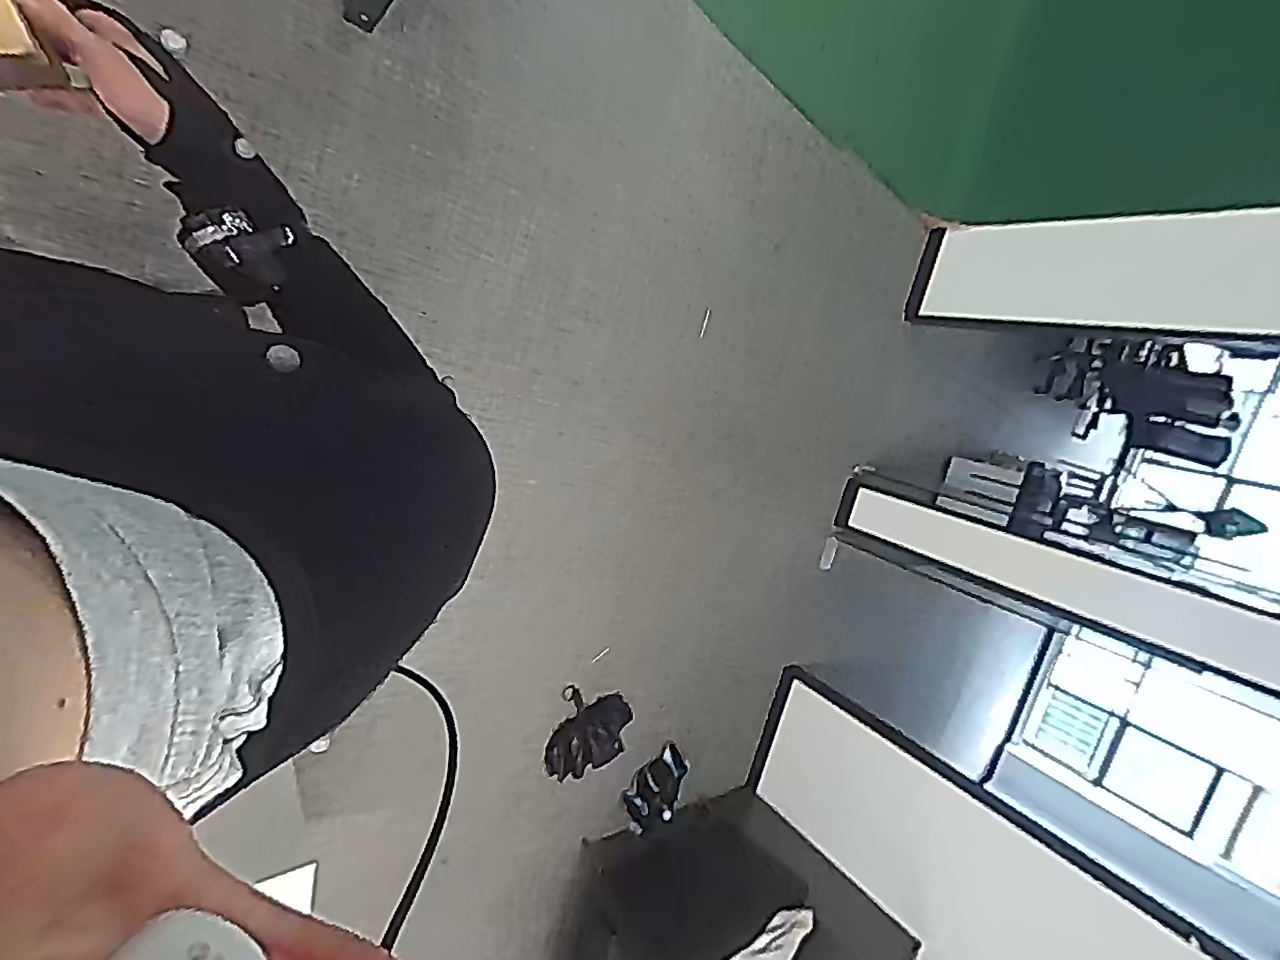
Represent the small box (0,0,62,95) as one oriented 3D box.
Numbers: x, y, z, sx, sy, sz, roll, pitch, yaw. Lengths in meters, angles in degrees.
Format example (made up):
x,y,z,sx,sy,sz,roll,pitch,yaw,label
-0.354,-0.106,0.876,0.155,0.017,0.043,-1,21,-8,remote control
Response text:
x,y,z,sx,sy,sz,roll,pitch,yaw,label
-0.436,-0.296,0.254,0.168,0.176,0.179,-24,128,-29,small box
